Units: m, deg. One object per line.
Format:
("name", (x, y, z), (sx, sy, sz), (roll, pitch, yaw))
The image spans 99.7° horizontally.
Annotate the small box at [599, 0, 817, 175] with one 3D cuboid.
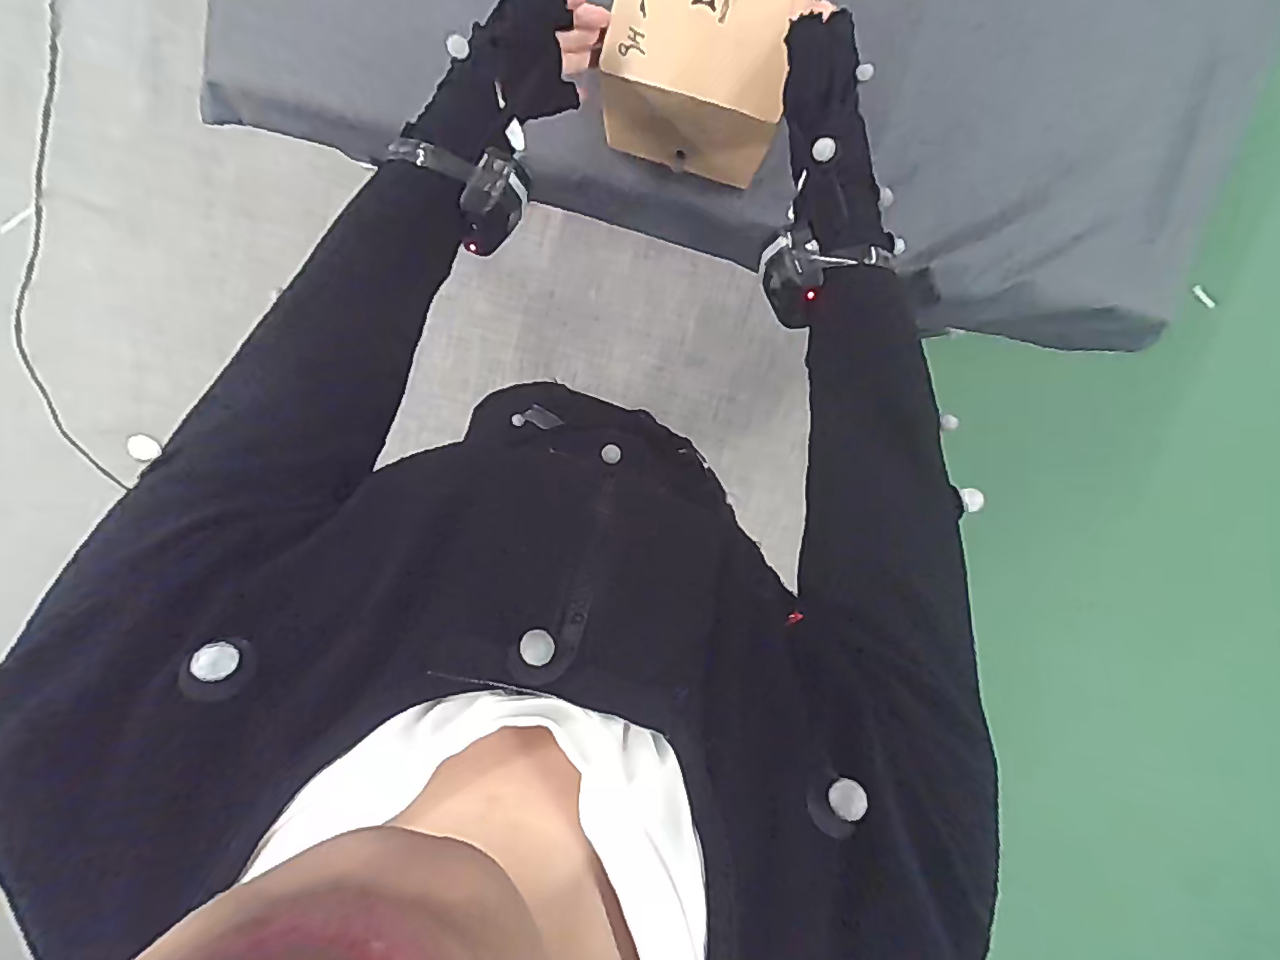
("small box", (0.066, -0.443, 0.557), (0.179, 0.176, 0.168), (15, 100, -3))
